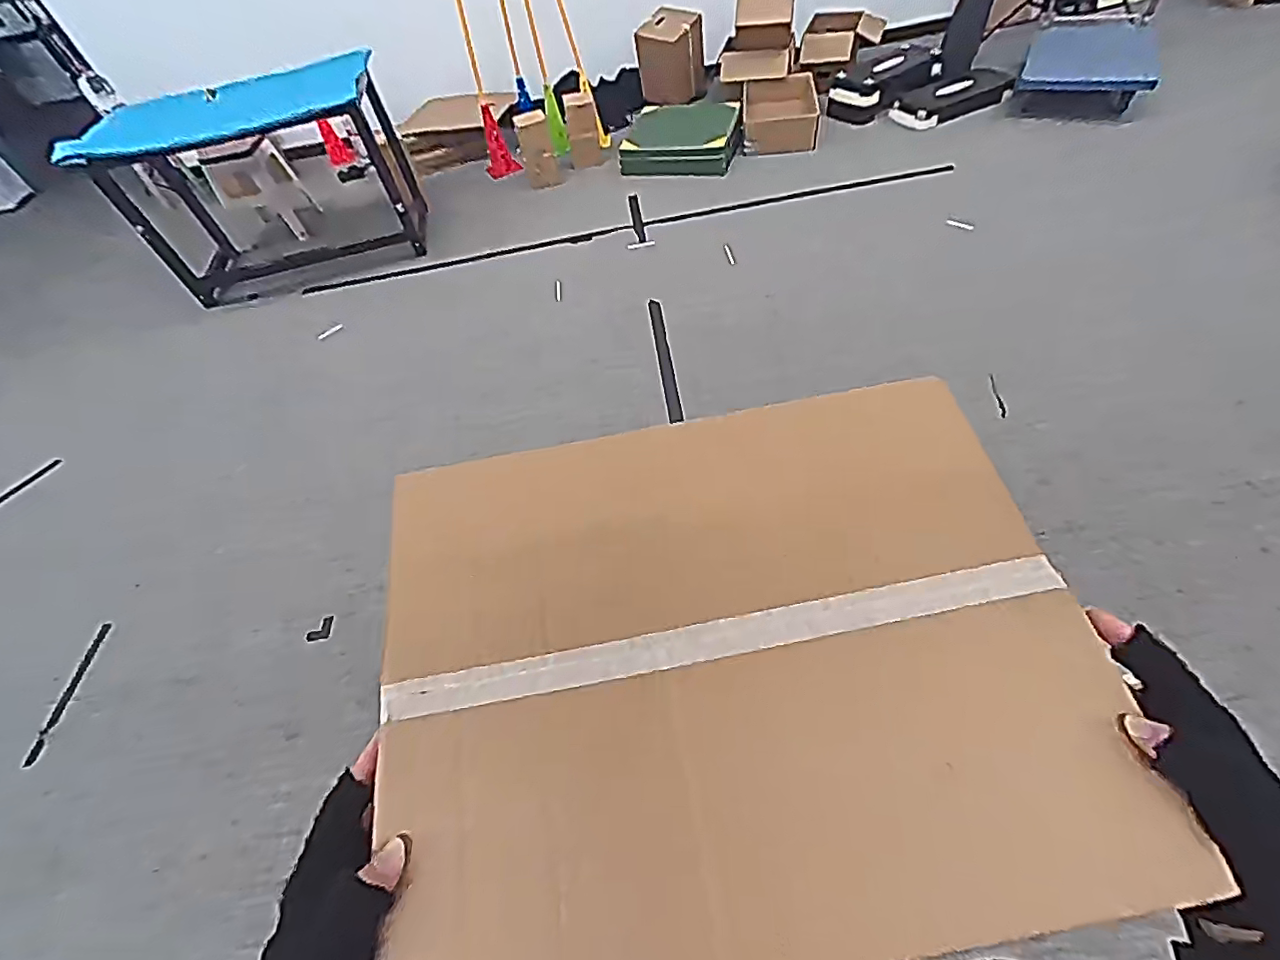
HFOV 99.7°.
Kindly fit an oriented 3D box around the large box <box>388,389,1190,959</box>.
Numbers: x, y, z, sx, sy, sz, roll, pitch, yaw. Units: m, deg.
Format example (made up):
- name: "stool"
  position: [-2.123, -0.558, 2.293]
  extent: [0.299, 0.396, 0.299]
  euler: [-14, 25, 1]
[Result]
- name: "large box"
  position: [0.061, 0.171, 0.457]
  extent: [0.408, 0.320, 0.320]
  euler: [-11, 61, 0]
